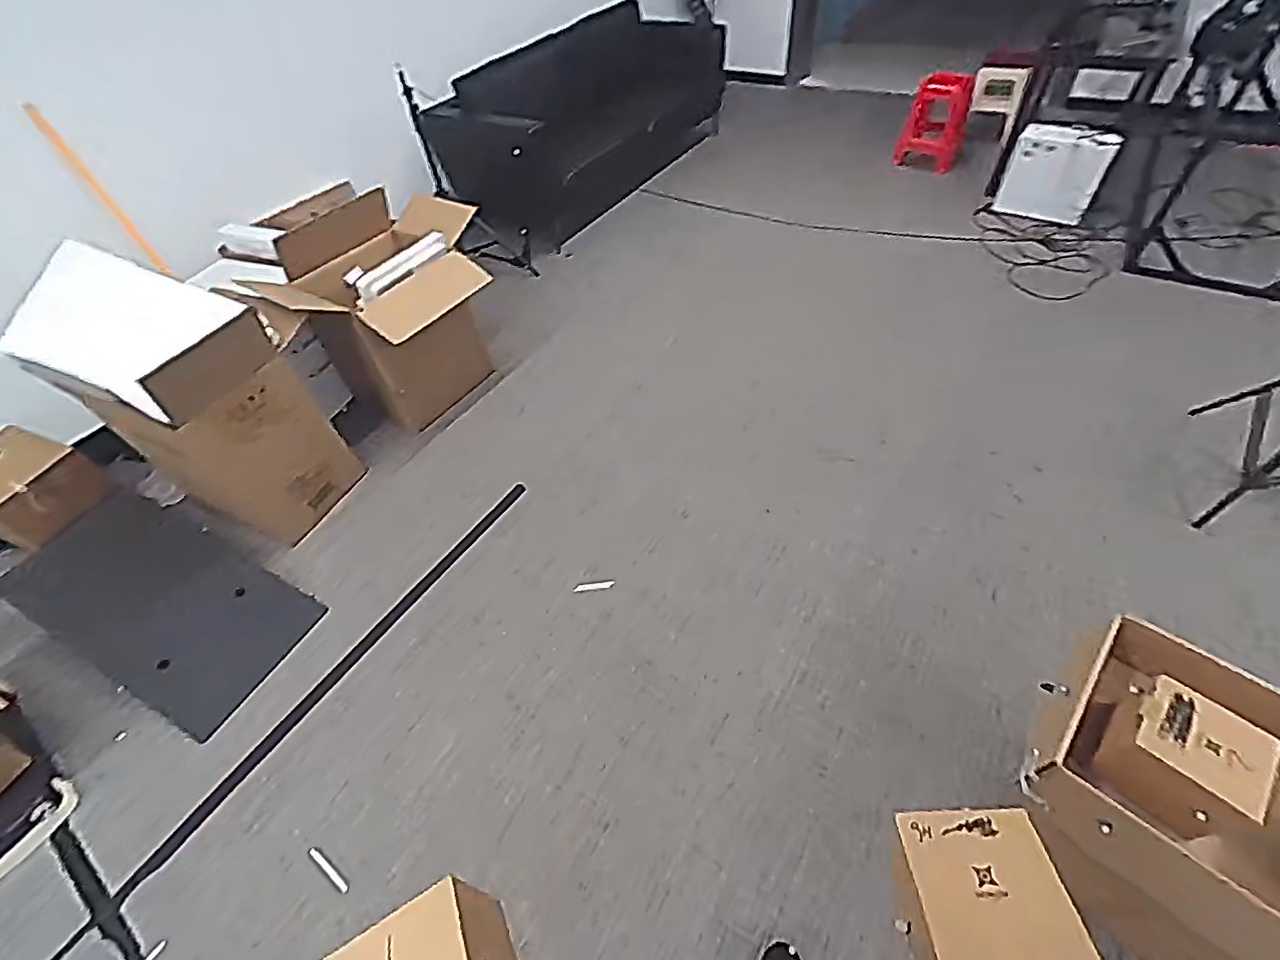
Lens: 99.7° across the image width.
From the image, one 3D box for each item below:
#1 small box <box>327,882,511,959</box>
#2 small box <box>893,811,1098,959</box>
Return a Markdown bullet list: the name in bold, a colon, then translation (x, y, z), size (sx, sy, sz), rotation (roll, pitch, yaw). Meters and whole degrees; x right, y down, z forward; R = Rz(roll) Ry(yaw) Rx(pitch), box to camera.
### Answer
- **small box**: translation (-0.243, 0.618, 0.622), size (0.168, 0.176, 0.179), rotation (-27, 43, -15)
- **small box**: translation (0.432, 0.553, 0.684), size (0.168, 0.176, 0.179), rotation (-8, 31, 11)
